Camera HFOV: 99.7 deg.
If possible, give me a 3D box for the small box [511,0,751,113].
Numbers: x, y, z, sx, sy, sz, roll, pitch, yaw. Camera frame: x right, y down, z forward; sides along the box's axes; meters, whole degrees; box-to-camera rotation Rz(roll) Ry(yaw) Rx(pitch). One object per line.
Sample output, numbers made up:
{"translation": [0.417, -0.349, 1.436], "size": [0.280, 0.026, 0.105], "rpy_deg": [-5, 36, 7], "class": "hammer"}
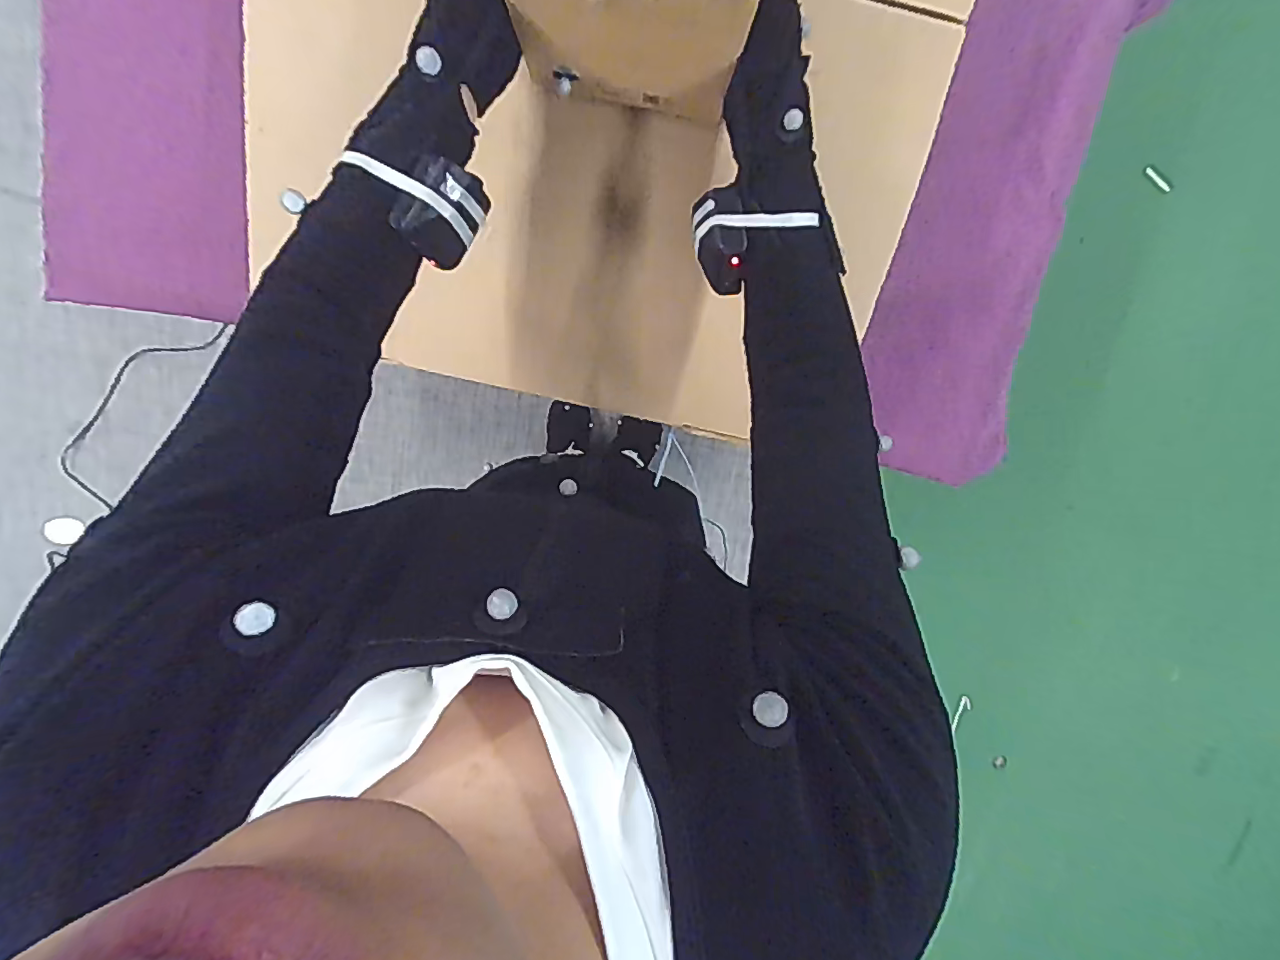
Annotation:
{"translation": [0.005, -0.396, 0.376], "size": [0.168, 0.176, 0.179], "rpy_deg": [10, 101, -3], "class": "small box"}
